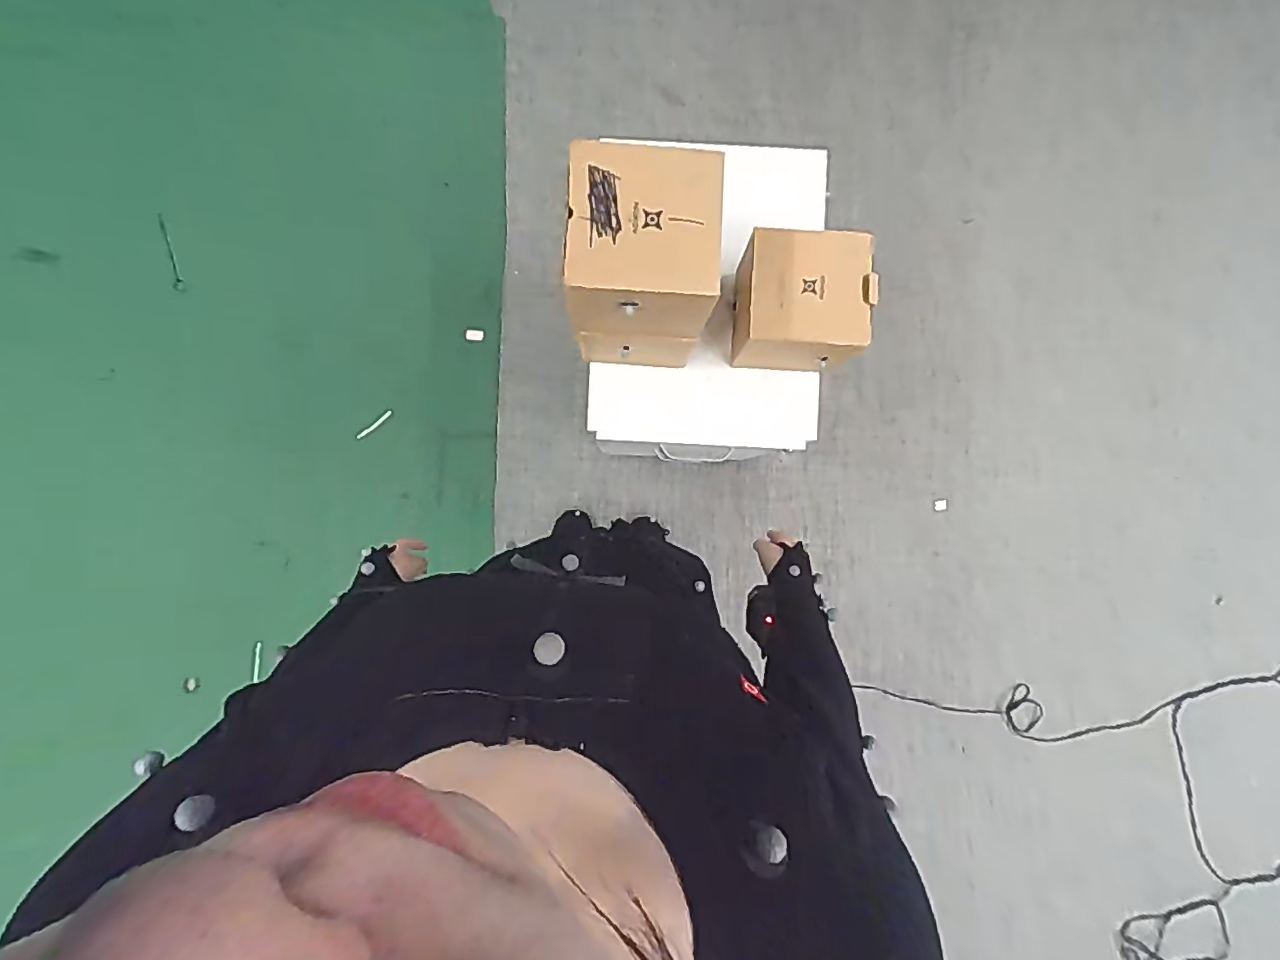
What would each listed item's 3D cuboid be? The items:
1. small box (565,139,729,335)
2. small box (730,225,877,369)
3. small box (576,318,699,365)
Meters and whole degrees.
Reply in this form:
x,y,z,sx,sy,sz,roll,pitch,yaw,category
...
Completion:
x,y,z,sx,sy,sz,roll,pitch,yaw,category
0.005,-0.287,0.674,0.179,0.176,0.168,3,89,-3,small box
0.246,-0.274,0.846,0.179,0.176,0.168,3,88,1,small box
-0.001,-0.281,0.839,0.179,0.176,0.168,3,90,-2,small box
